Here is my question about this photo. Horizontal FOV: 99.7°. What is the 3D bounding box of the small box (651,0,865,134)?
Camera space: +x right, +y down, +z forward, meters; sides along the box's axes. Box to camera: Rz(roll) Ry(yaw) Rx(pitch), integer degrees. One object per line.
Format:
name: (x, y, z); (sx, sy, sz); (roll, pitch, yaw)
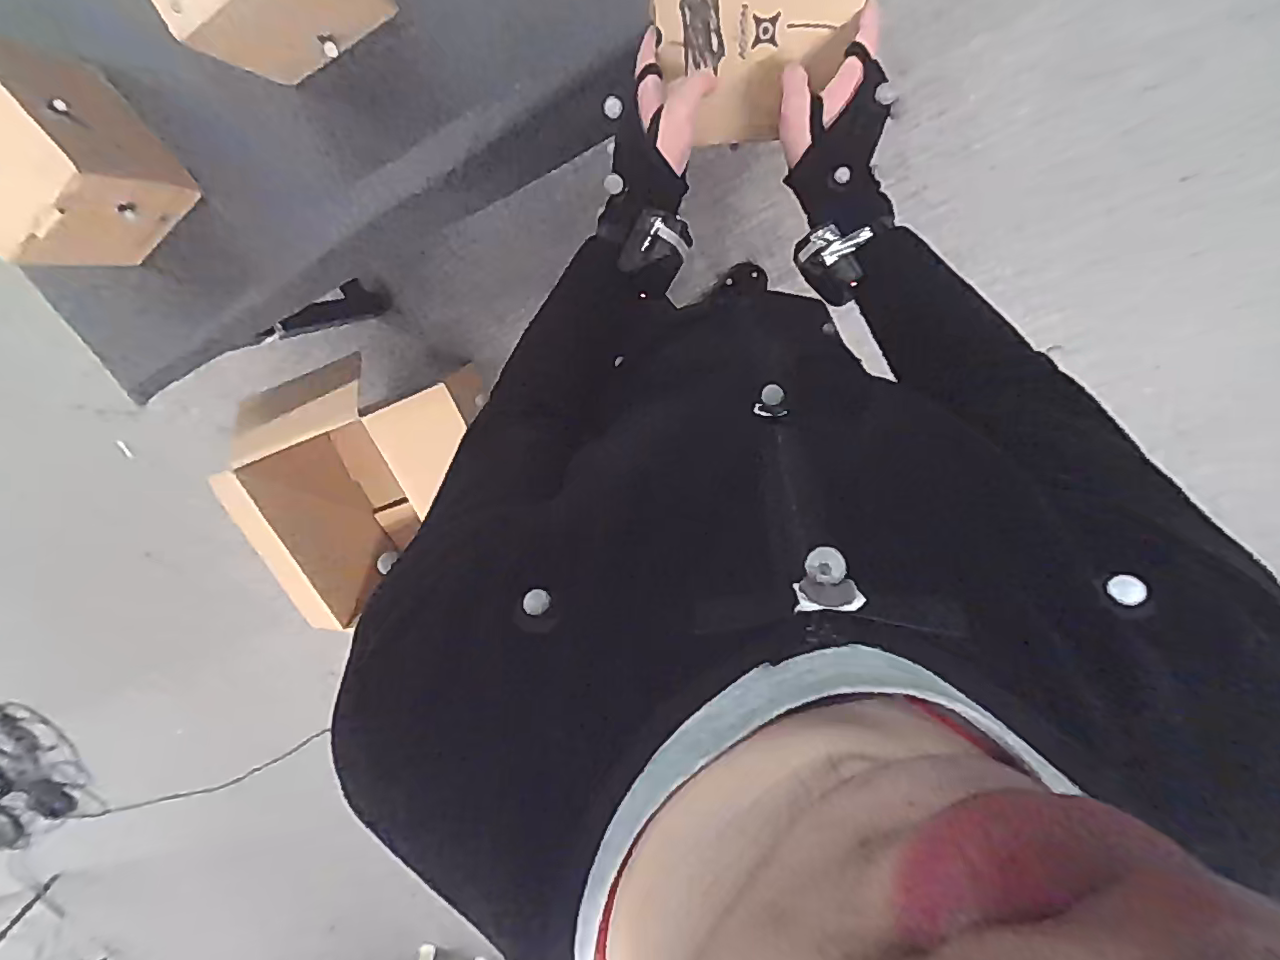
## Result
small box: (0.104, -0.436, 0.508); (0.179, 0.176, 0.168); (1, 132, 6)

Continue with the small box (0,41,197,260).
small box: (-0.713, -0.395, 0.662); (0.168, 0.176, 0.179); (-33, 105, 16)

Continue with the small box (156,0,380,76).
small box: (-0.402, -0.566, 0.556); (0.179, 0.176, 0.168); (-22, 109, 13)
